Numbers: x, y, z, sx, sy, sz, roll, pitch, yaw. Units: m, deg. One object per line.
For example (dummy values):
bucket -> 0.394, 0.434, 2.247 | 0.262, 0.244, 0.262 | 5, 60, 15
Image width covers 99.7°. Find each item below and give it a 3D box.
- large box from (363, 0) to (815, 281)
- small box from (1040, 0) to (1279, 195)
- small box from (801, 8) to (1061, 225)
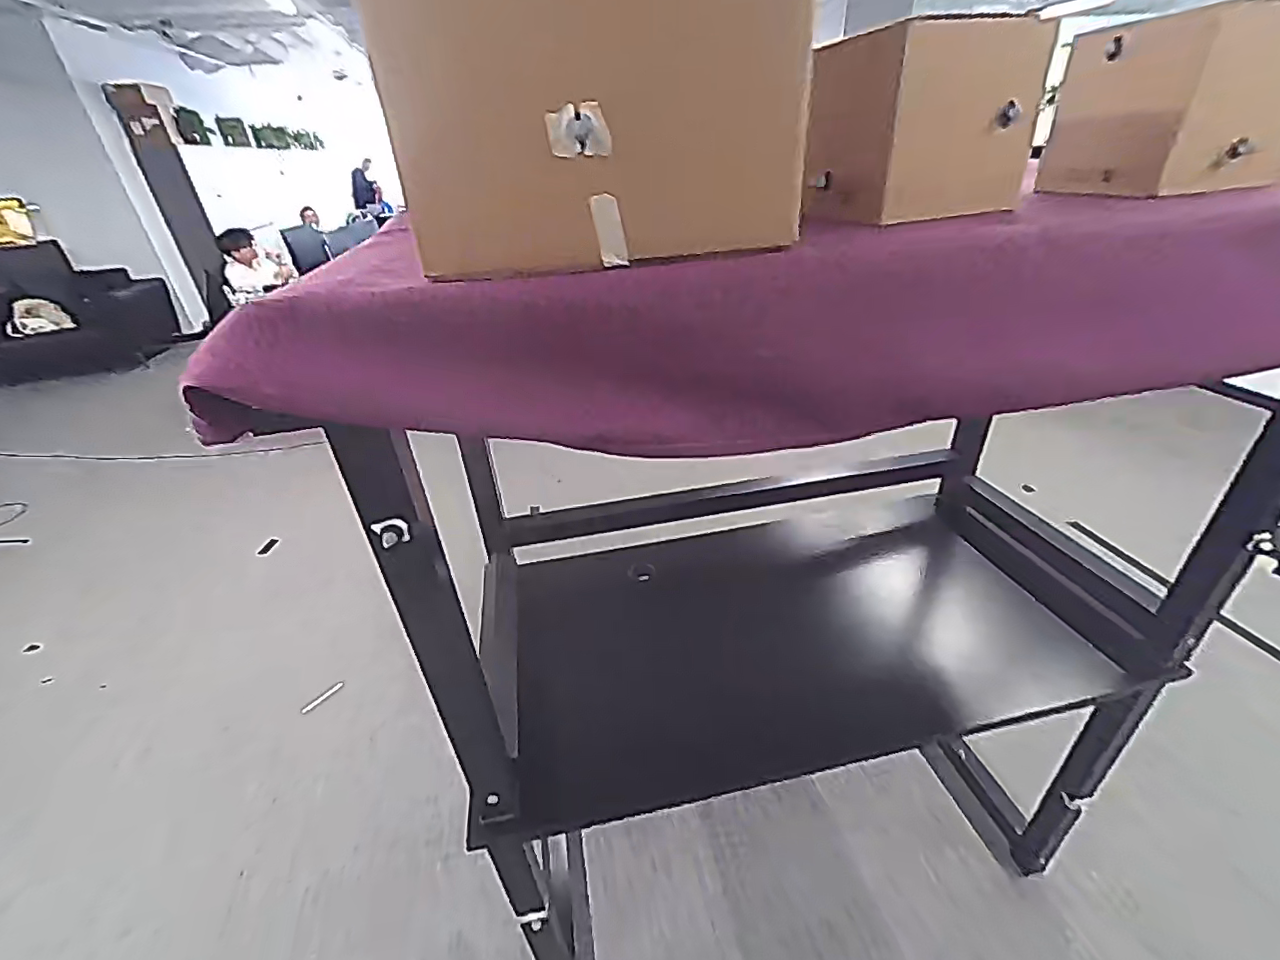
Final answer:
large box -> -0.058, -0.398, 0.528 | 0.320, 0.320, 0.408 | -7, 30, -6
small box -> 0.612, -0.431, 0.618 | 0.179, 0.176, 0.168 | -9, 31, -8
small box -> 0.293, -0.386, 0.590 | 0.179, 0.176, 0.168 | -13, 31, -12
